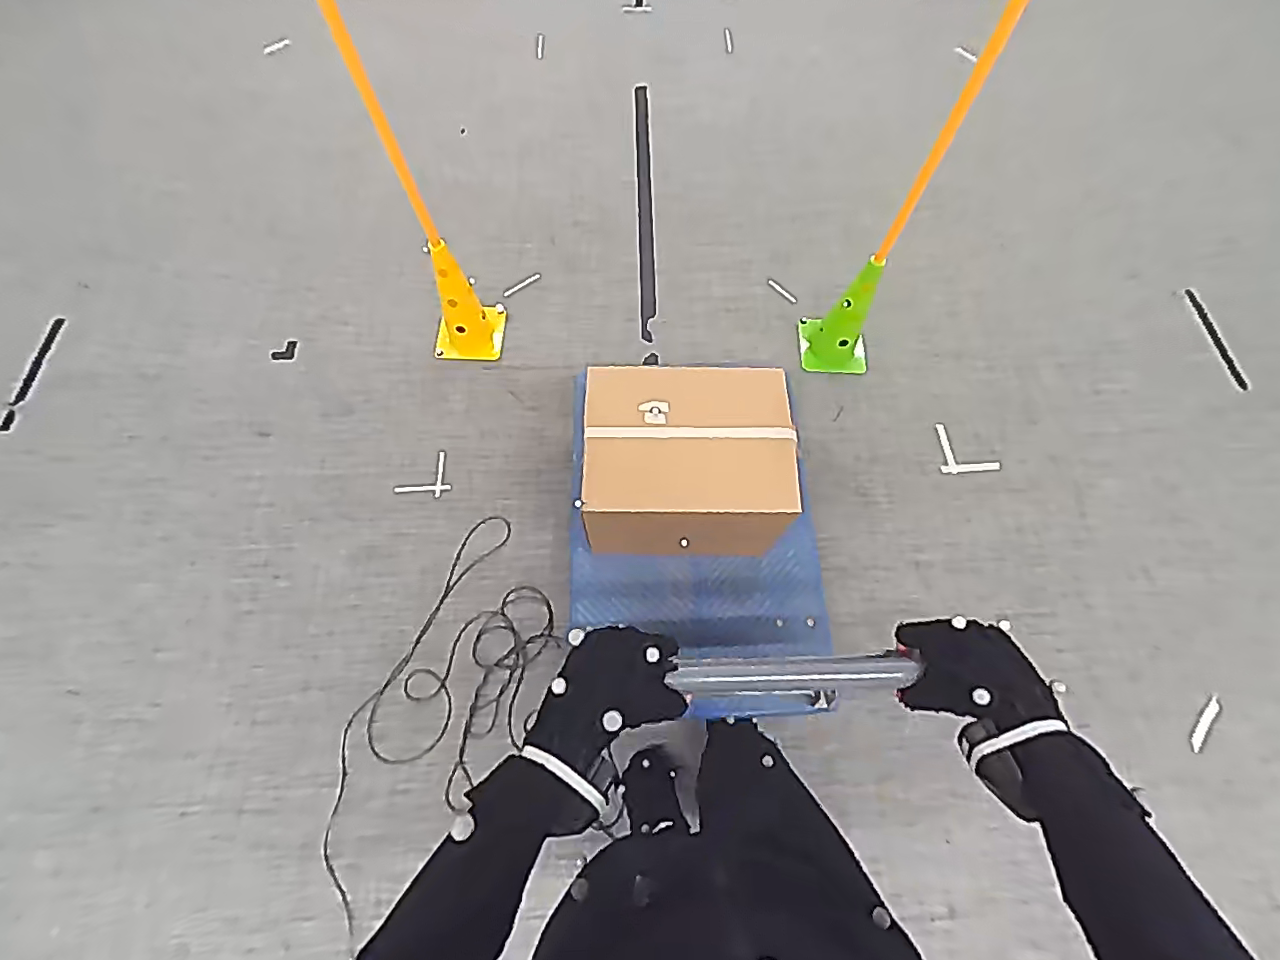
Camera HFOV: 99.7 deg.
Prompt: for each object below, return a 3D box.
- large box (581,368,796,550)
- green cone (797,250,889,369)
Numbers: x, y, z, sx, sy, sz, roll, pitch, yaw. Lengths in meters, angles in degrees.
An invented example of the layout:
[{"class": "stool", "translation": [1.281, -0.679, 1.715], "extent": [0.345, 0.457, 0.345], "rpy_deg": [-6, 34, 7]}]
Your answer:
[{"class": "large box", "translation": [0.090, -0.031, 1.185], "extent": [0.408, 0.320, 0.320], "rpy_deg": [0, 68, 0]}, {"class": "green cone", "translation": [0.607, -0.502, 1.546], "extent": [0.202, 0.368, 0.200], "rpy_deg": [3, 68, -1]}]
